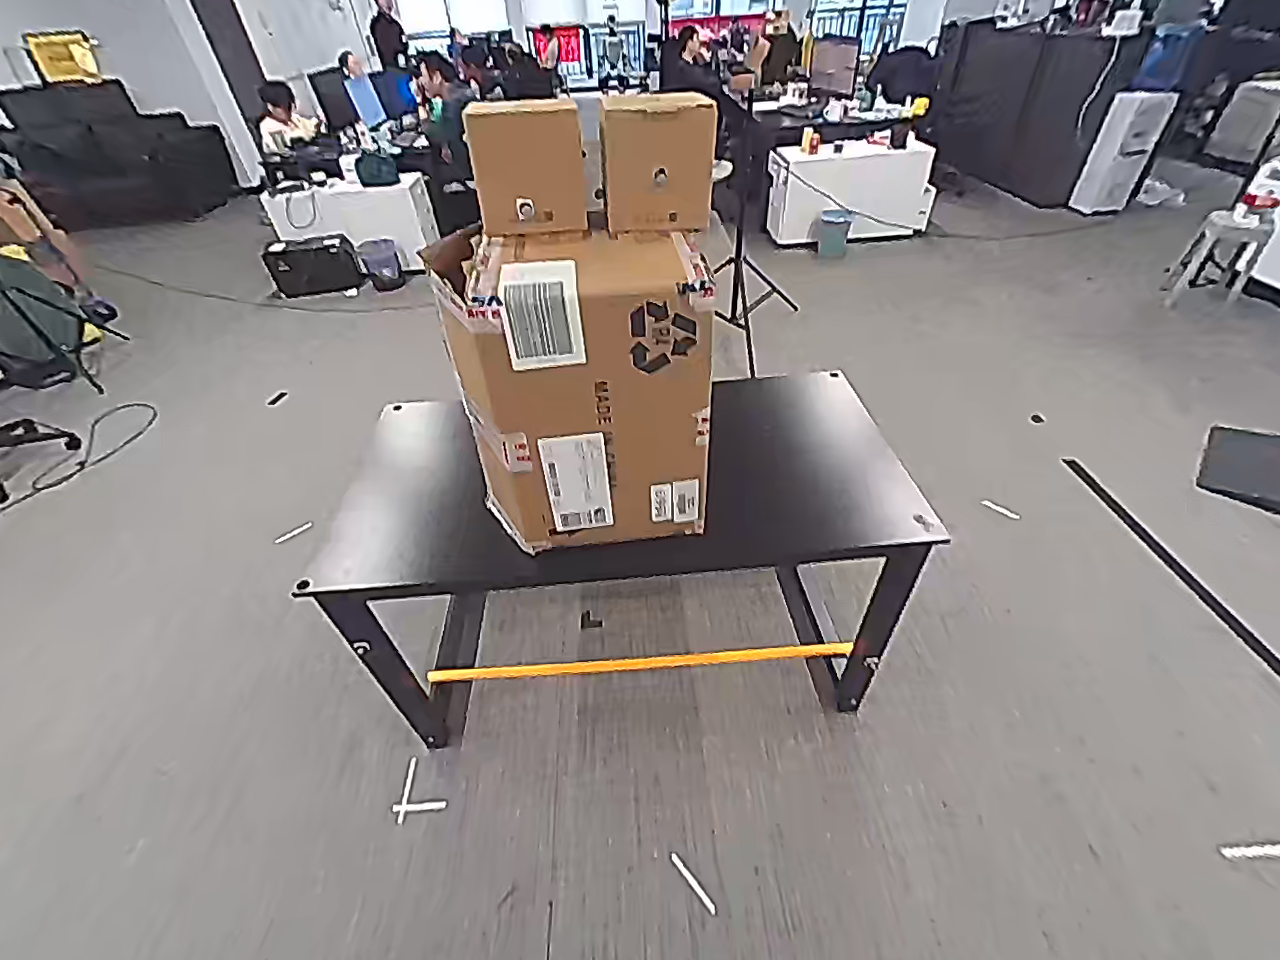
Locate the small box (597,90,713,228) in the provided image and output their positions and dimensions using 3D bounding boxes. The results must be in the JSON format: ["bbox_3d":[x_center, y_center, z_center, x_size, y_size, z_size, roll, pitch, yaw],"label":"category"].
[{"bbox_3d":[0.019,-0.522,0.885,0.168,0.176,0.179,-4,42,-5],"label":"small box"}]

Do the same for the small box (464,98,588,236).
[{"bbox_3d":[-0.180,-0.512,0.884,0.168,0.176,0.179,-9,41,-6],"label":"small box"}]
